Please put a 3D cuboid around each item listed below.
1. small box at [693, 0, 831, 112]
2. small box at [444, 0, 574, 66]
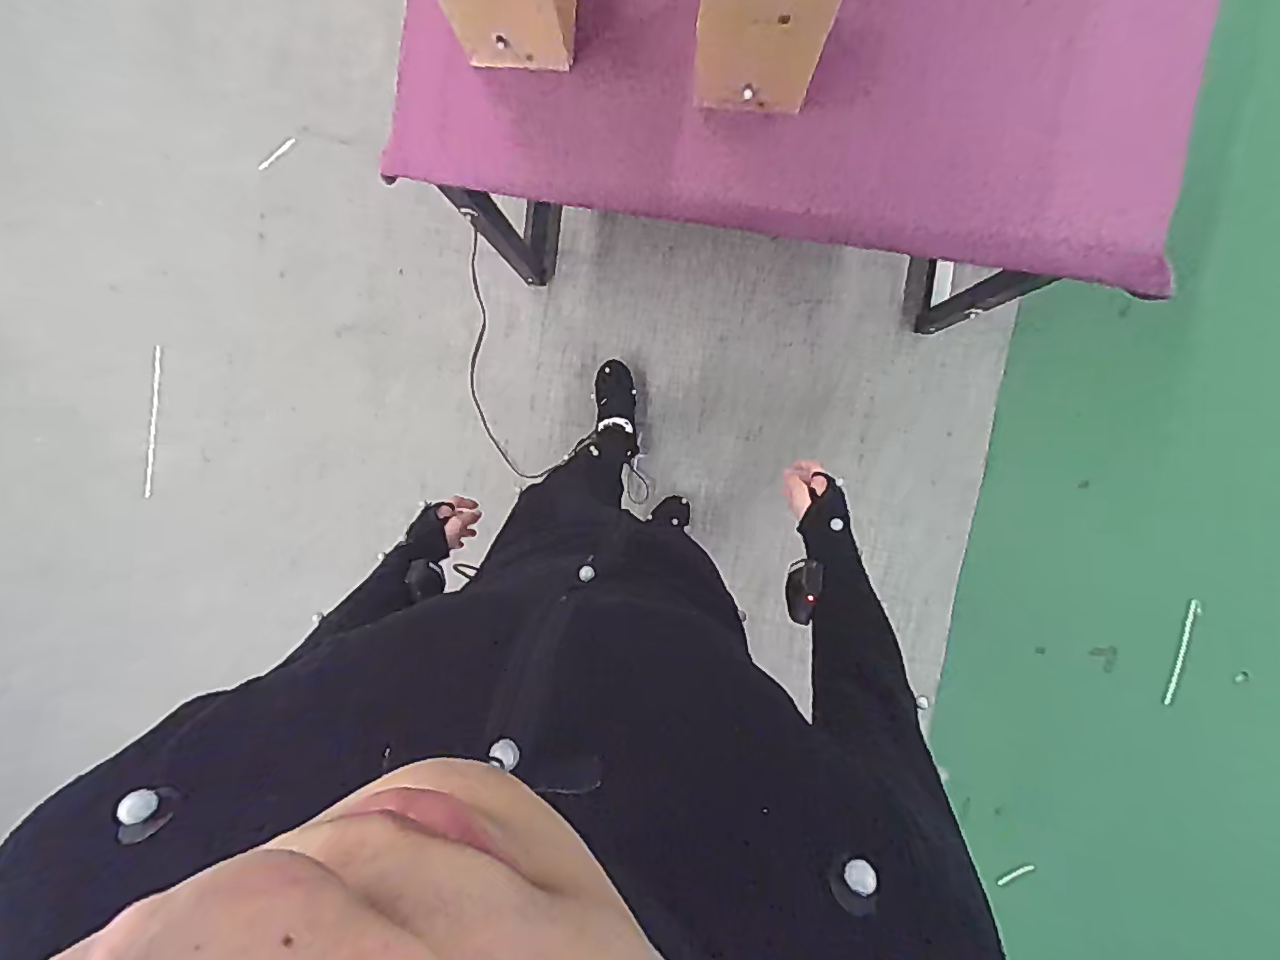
[{"bbox_3d":[0.166,-0.655,0.746,0.168,0.176,0.179,7,94,3],"label":"small box"},{"bbox_3d":[-0.189,-0.736,0.763,0.168,0.176,0.179,4,95,3],"label":"small box"}]
